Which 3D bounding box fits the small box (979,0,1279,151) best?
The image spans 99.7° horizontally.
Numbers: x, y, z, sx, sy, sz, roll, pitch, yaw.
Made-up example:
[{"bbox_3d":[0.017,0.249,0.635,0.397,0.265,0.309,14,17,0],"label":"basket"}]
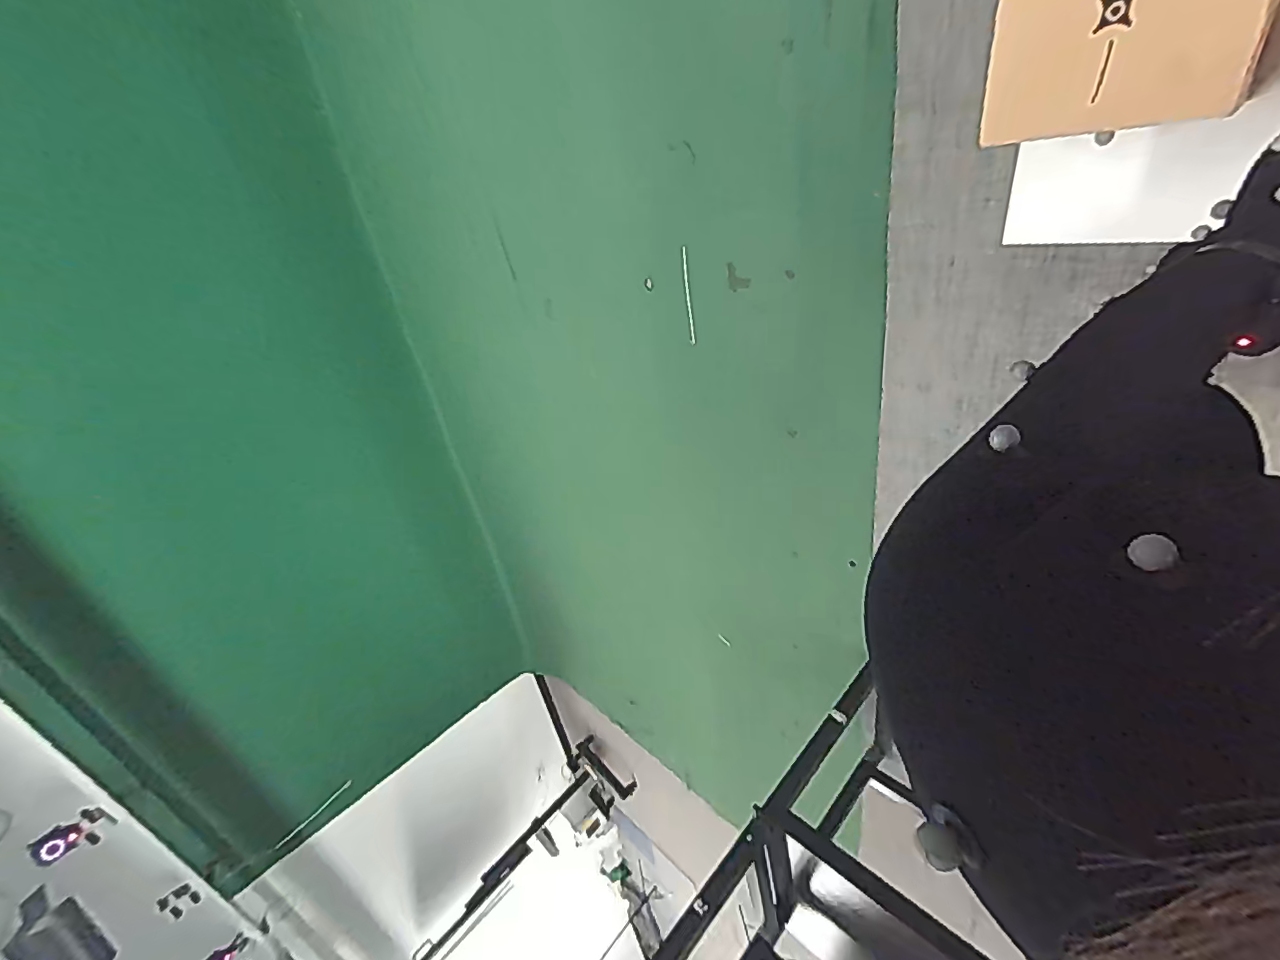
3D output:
[{"bbox_3d":[0.415,-0.390,0.450,0.168,0.176,0.179,21,132,41],"label":"small box"}]
